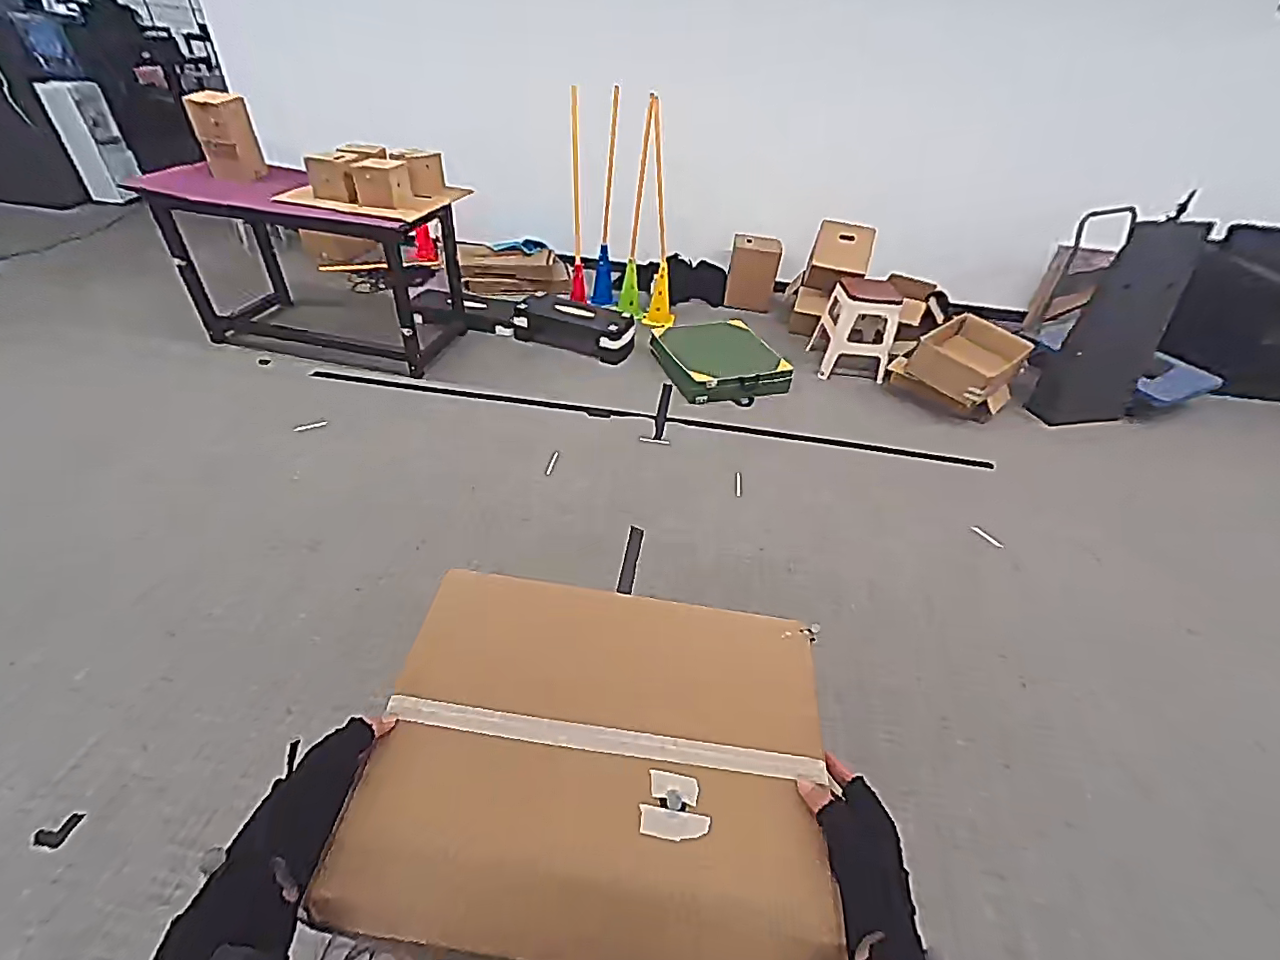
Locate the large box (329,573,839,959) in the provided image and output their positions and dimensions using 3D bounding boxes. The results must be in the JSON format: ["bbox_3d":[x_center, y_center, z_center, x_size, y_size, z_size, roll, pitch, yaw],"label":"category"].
[{"bbox_3d":[-0.043,0.343,0.619,0.408,0.320,0.320,9,47,1],"label":"large box"}]
